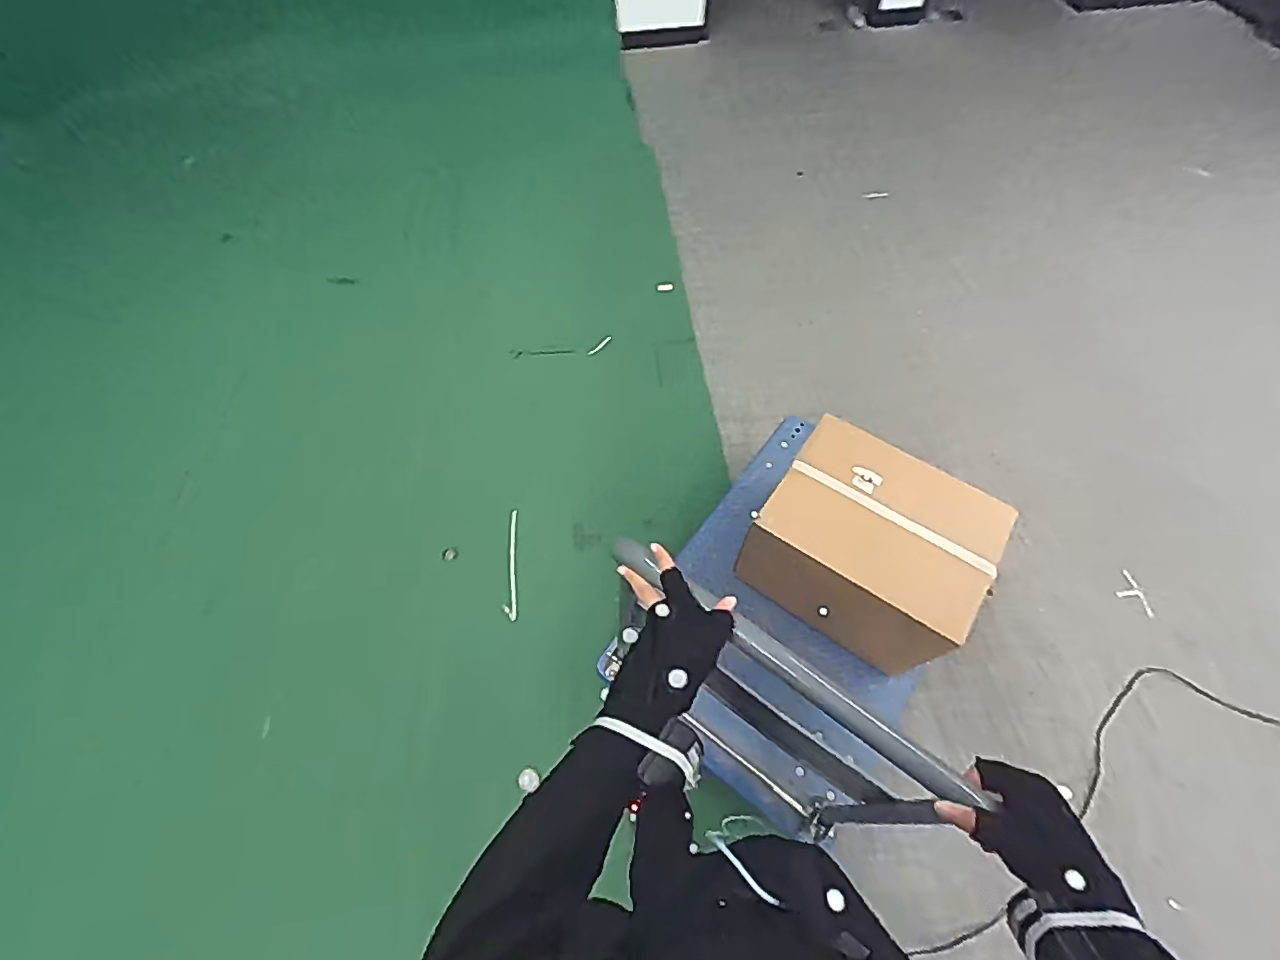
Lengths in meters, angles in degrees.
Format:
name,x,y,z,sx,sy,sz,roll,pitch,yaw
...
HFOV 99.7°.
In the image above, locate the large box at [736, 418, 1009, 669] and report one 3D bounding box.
name,x,y,z,sx,sy,sz,roll,pitch,yaw
large box,0.469,0.144,1.167,0.408,0.320,0.320,31,65,18
